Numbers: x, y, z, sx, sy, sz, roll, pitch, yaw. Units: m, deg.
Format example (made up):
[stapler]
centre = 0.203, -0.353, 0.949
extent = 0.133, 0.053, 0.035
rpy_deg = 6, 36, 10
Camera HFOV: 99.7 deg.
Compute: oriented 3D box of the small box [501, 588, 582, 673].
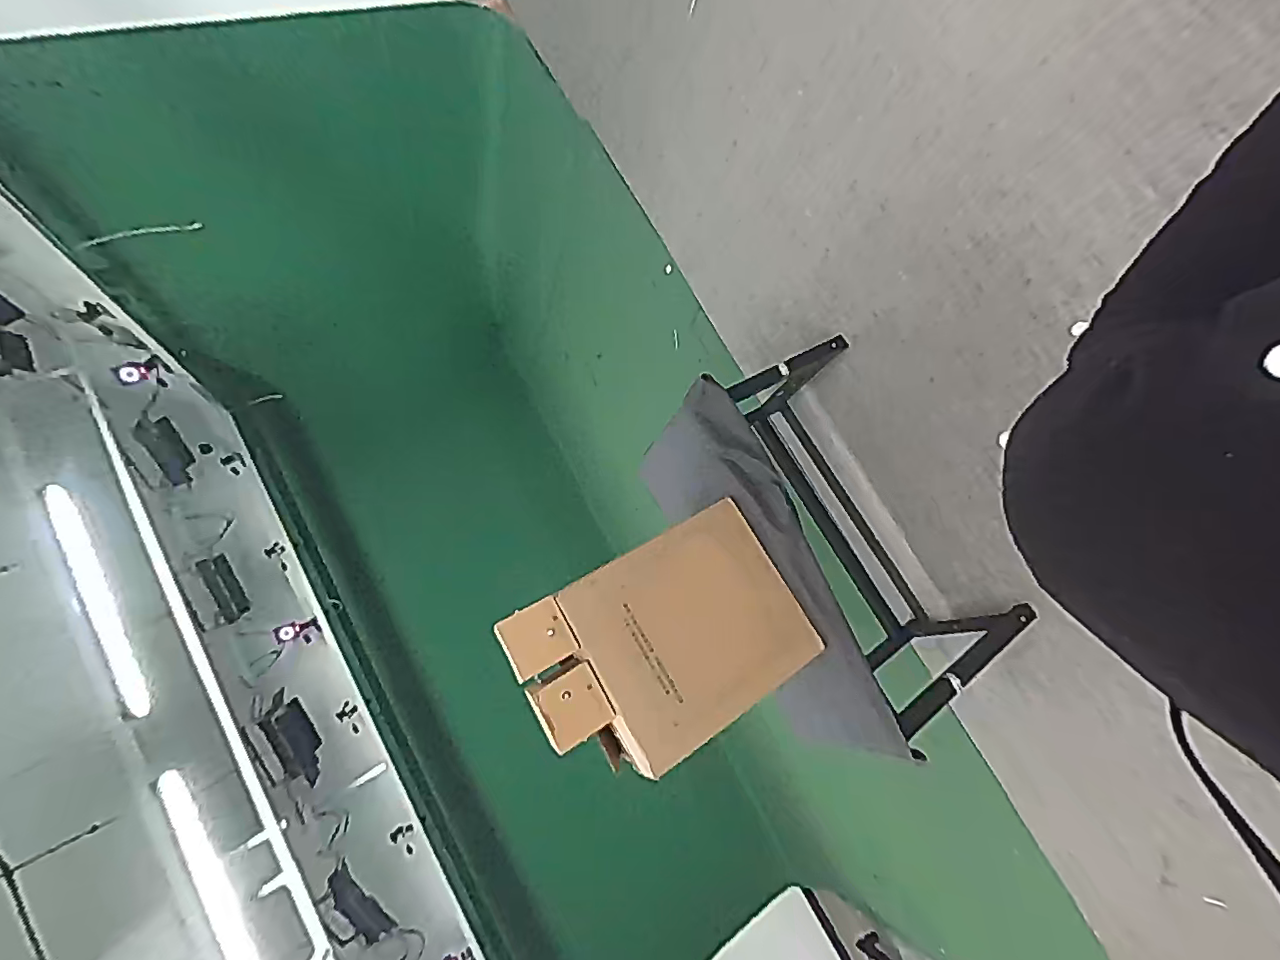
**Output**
[small box]
centre = -0.277, 0.423, 1.517
extent = 0.168, 0.176, 0.179
rpy_deg = 60, 157, 11
